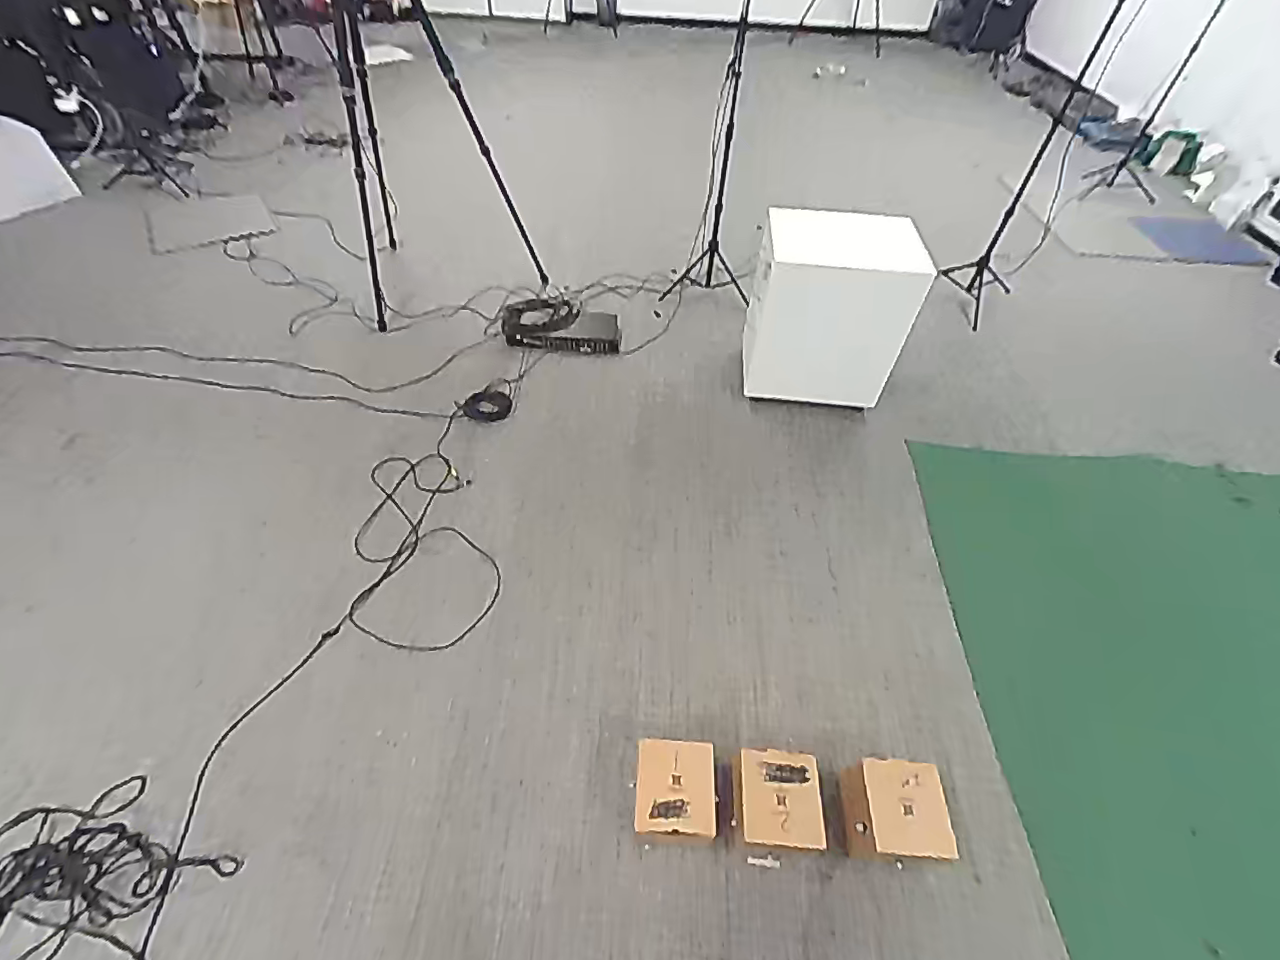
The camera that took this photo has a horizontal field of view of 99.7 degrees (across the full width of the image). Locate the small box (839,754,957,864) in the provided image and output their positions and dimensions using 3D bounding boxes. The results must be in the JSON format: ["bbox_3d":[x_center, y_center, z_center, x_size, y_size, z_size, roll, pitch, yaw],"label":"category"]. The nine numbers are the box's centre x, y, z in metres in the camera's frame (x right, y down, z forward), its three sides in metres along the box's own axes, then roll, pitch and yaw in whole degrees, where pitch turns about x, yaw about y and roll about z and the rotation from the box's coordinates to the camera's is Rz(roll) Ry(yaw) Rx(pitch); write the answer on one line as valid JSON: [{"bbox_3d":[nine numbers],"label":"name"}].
[{"bbox_3d":[0.551,0.722,1.181,0.168,0.176,0.179,5,49,1],"label":"small box"}]

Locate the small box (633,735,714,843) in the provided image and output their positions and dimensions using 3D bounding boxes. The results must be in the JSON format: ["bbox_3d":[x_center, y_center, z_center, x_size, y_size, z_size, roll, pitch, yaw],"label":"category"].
[{"bbox_3d":[0.072,0.684,1.192,0.168,0.176,0.179,3,49,1],"label":"small box"}]
